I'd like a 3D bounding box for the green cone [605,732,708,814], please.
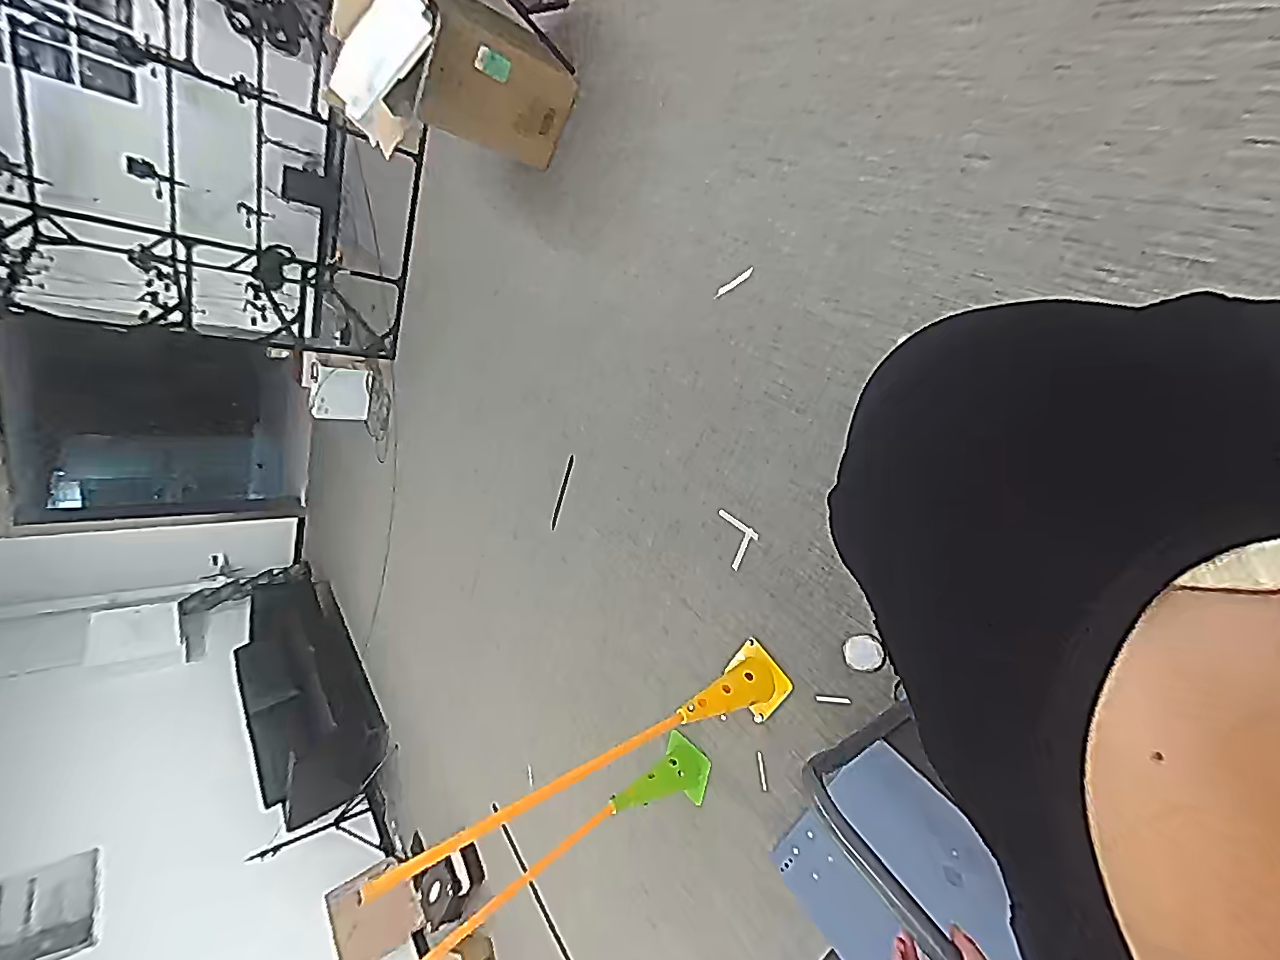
[{"bbox_3d":[0.034,1.055,1.851,0.200,0.368,0.202,23,107,45],"label":"green cone"}]
